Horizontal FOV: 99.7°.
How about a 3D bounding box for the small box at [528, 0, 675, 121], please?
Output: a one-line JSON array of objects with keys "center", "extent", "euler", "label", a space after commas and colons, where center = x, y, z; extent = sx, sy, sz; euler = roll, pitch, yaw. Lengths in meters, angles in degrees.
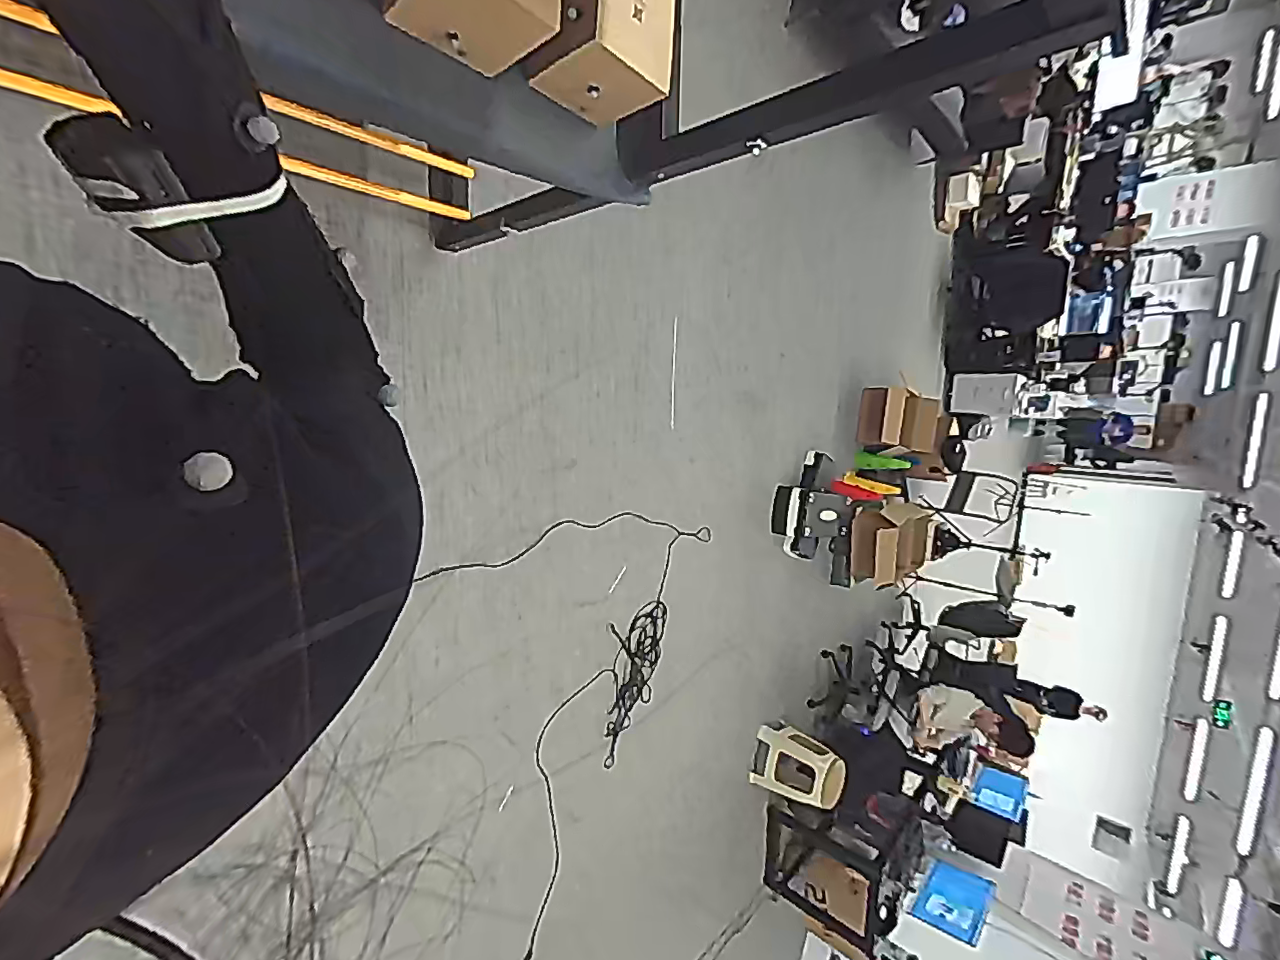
[{"center": [-0.065, -0.721, 0.868], "extent": [0.168, 0.176, 0.179], "euler": [-3, 98, -48], "label": "small box"}]
